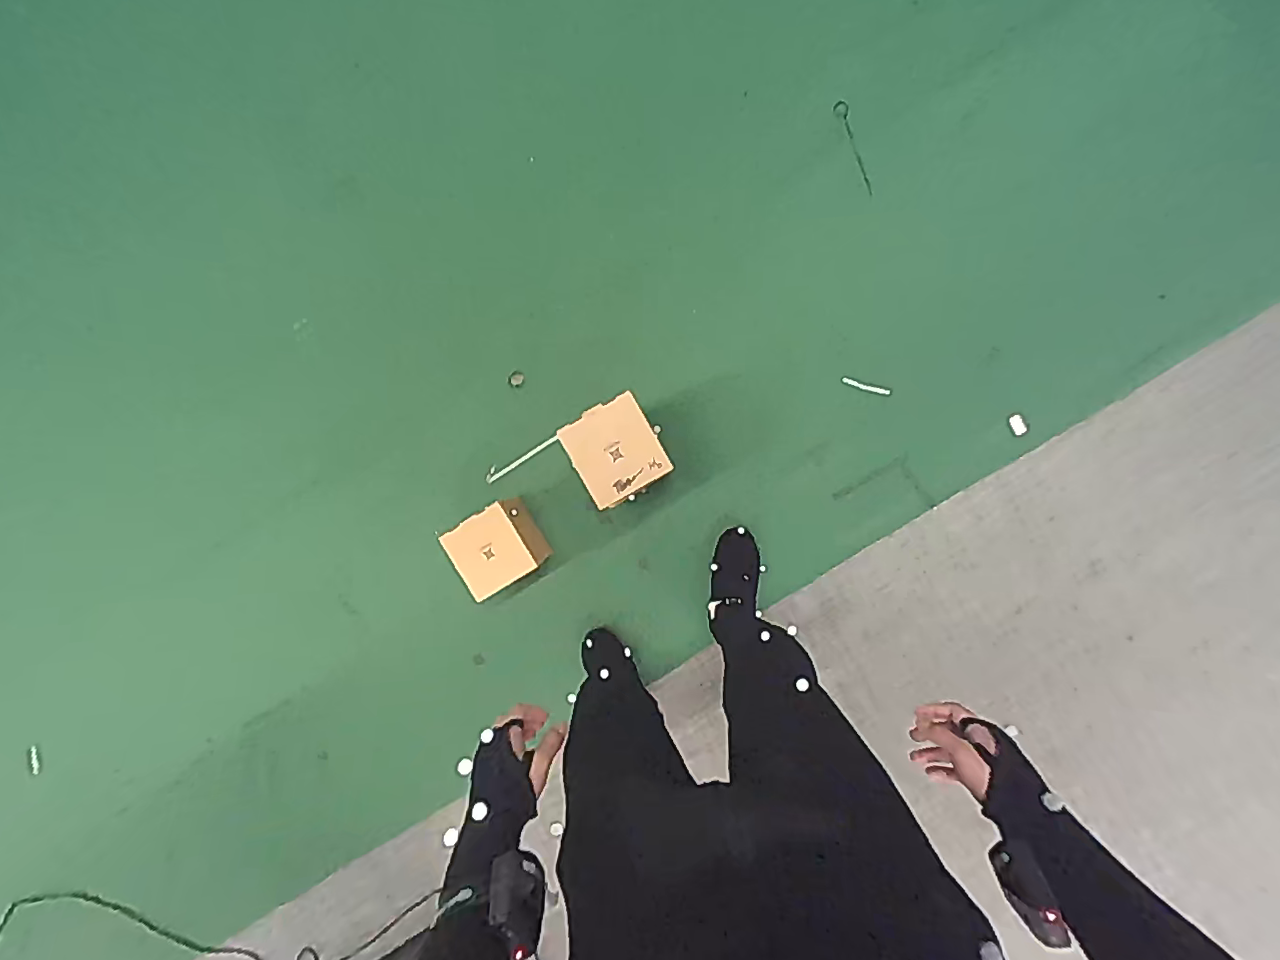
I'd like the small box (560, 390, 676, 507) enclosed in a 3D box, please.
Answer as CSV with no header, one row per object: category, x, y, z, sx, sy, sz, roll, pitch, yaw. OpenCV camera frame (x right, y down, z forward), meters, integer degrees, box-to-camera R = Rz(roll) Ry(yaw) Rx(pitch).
small box,-0.041,-0.060,1.105,0.168,0.176,0.179,-29,91,3

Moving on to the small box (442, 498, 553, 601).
small box,-0.332,0.158,1.296,0.168,0.176,0.179,-32,90,4
